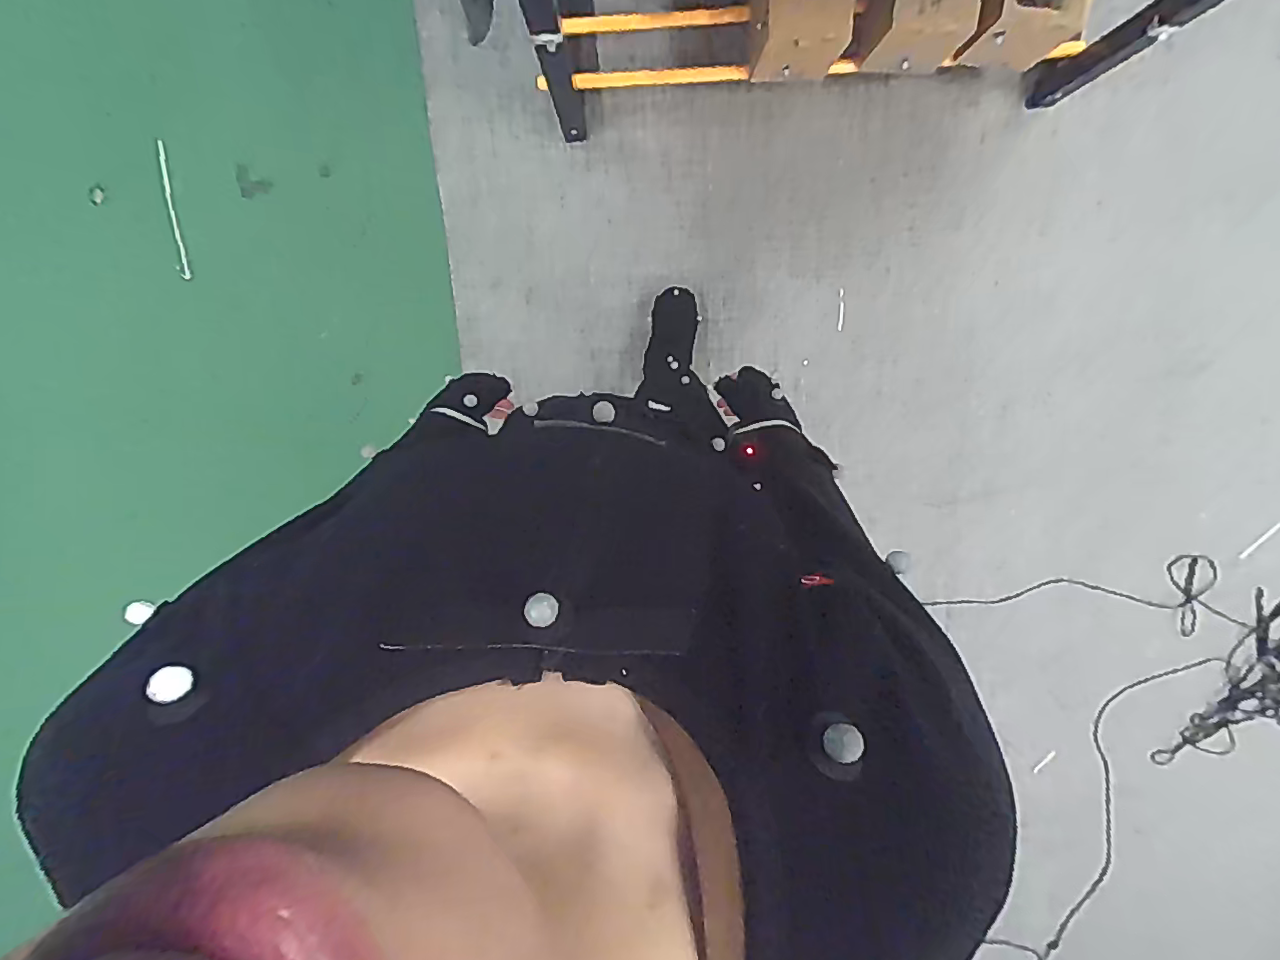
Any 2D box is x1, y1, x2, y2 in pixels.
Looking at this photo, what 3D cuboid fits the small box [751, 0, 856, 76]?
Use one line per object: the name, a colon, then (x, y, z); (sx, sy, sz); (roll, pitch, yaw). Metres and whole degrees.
small box: (0.321, -0.947, 1.080); (0.168, 0.176, 0.179); (-2, 105, 0)
